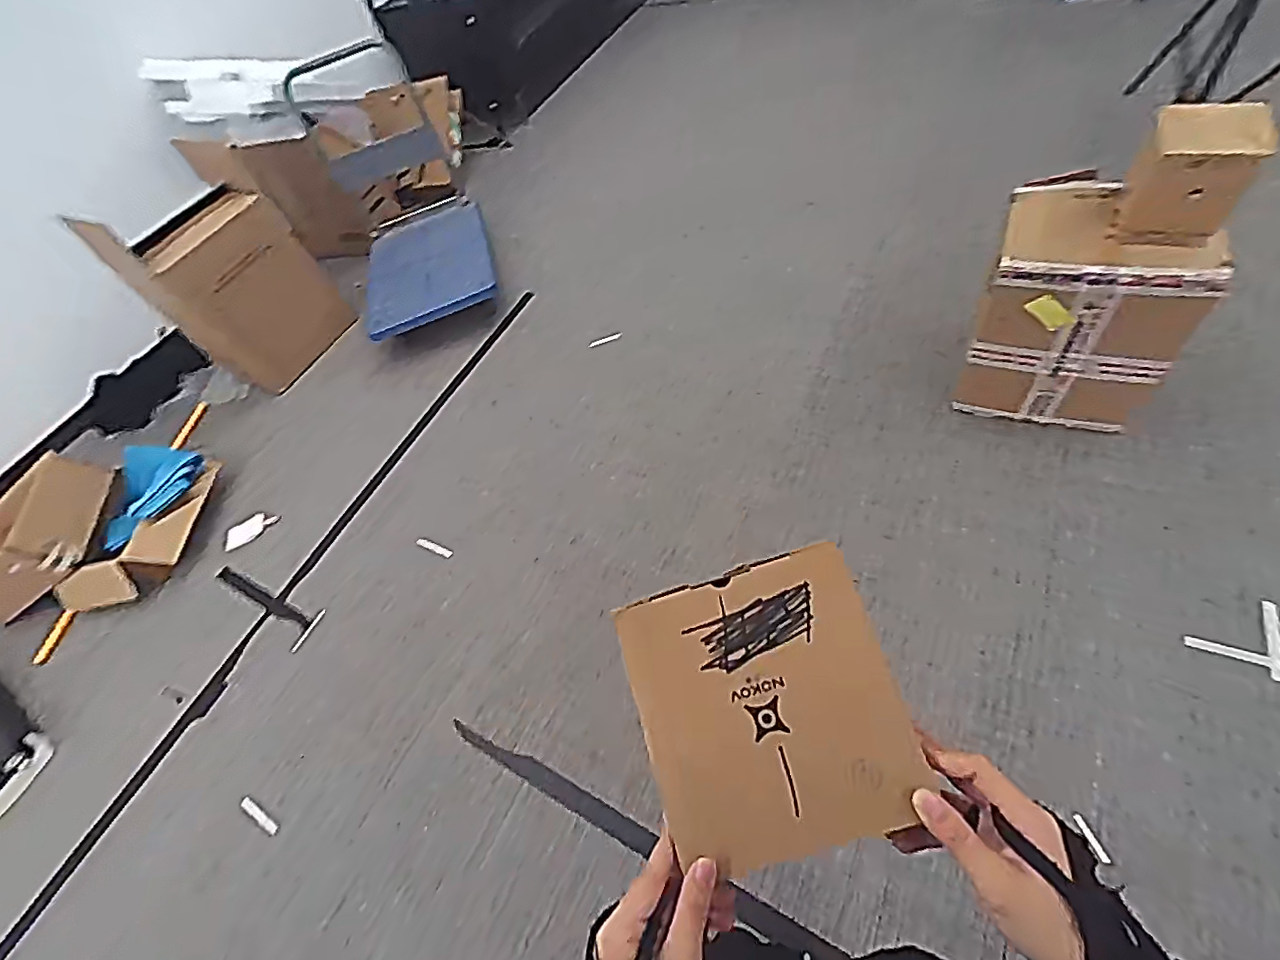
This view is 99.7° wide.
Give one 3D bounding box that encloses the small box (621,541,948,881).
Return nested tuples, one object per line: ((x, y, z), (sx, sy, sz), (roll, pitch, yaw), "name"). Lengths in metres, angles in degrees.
((0.096, 0.166, 0.427), (0.168, 0.176, 0.179), (-18, 72, 5), "small box")

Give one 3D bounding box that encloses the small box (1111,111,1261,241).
((1.111, -0.624, 1.113), (0.168, 0.176, 0.179), (15, 63, 22), "small box")
